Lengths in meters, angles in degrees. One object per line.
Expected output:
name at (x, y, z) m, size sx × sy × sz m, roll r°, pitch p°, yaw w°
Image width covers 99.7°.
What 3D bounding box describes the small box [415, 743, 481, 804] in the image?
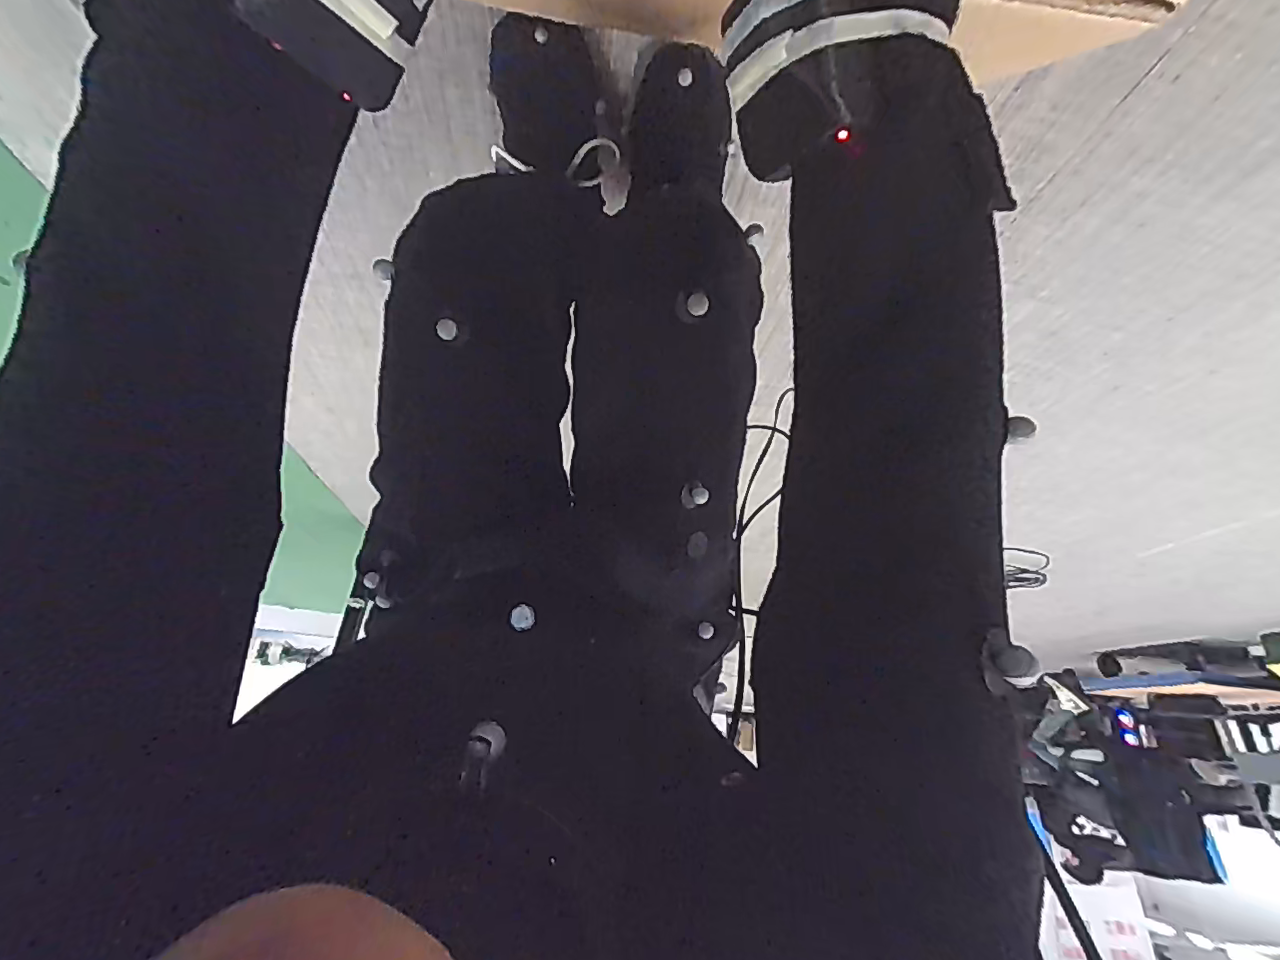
small box at (-0.646, 0.991, 1.837) m, size 0.168 × 0.176 × 0.179 m, roll 8°, pitch 154°, yaw -6°
